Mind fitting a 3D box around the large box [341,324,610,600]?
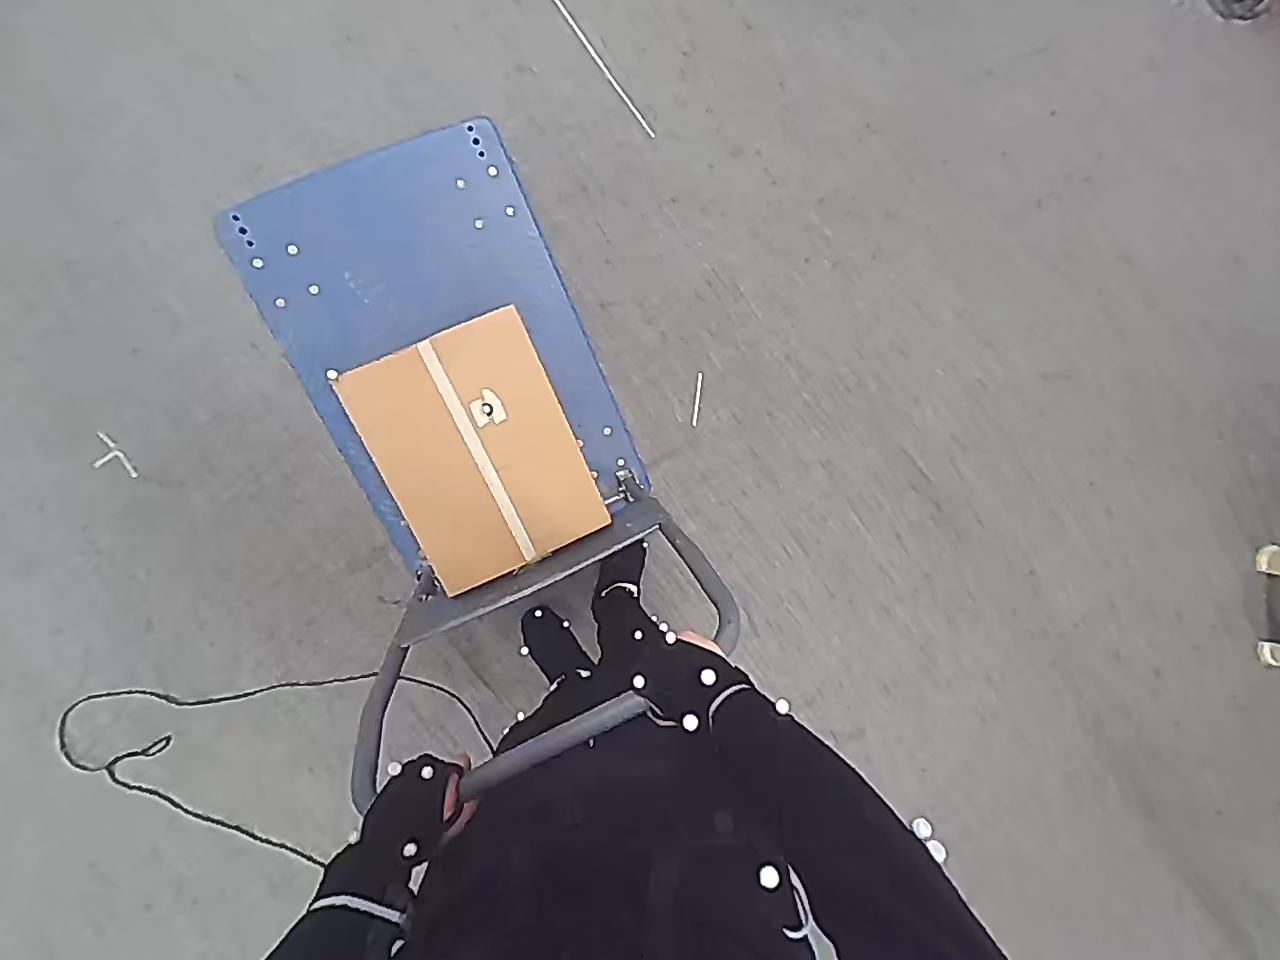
[{"bbox_3d":[-0.290,-0.046,1.070,0.320,0.320,0.408,-25,102,-5],"label":"large box"}]
